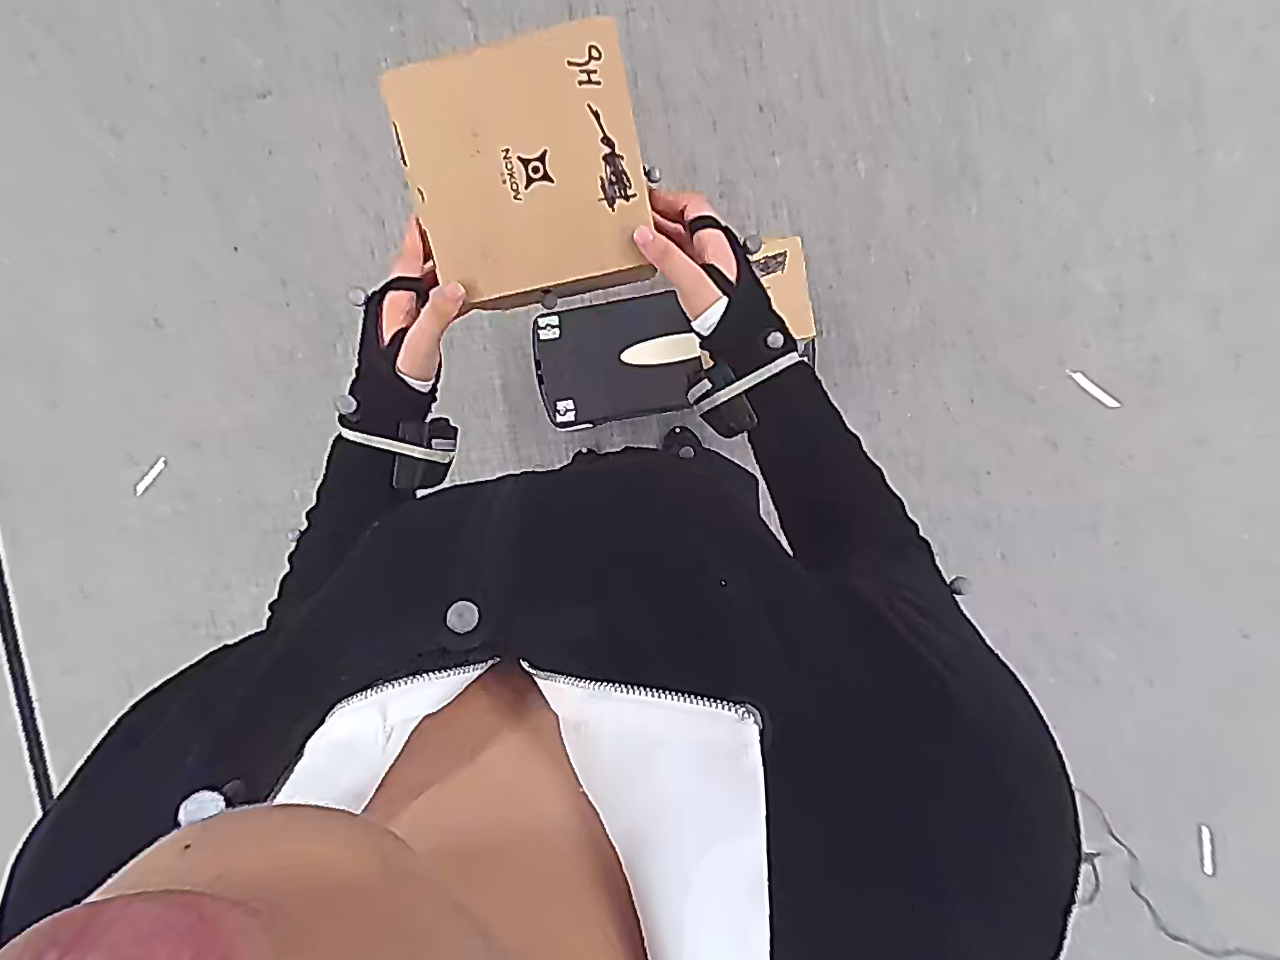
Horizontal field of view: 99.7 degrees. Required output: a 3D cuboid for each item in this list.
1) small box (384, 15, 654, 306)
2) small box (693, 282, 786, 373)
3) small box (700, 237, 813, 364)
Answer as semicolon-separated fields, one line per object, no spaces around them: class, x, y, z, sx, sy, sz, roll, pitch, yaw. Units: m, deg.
small box;-0.086;-0.256;0.483;0.179;0.176;0.168;-10;105;4
small box;0.210;-0.339;1.191;0.168;0.176;0.179;-10;94;4
small box;0.212;-0.331;1.027;0.168;0.176;0.179;-11;95;4
